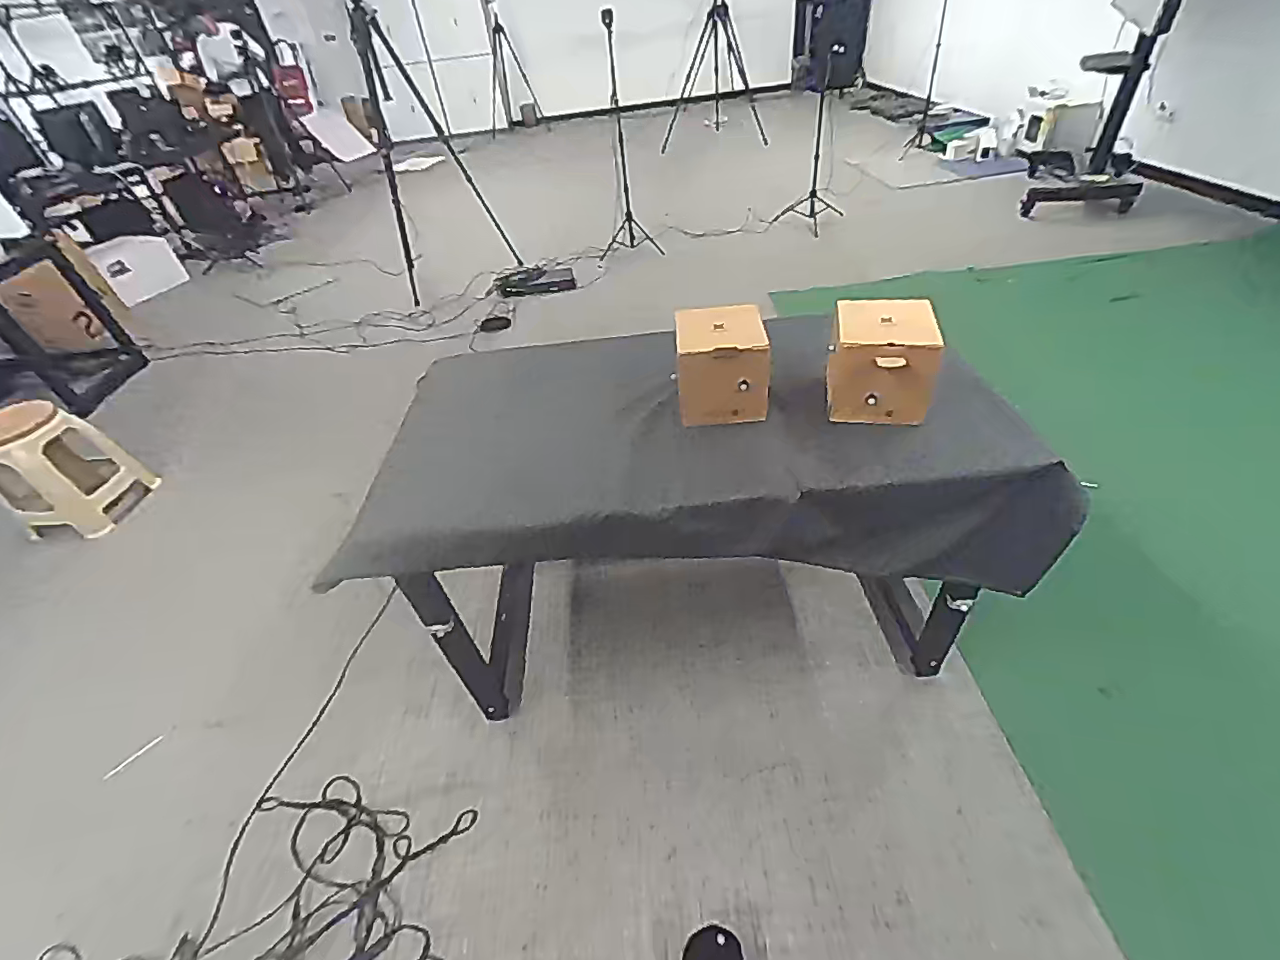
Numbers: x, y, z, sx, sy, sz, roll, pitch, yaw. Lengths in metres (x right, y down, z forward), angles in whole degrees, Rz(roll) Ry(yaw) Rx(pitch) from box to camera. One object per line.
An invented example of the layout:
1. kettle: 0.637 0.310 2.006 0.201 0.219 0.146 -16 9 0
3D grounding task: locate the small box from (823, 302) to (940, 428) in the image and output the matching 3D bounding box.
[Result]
1. small box: 0.443 -0.220 1.025 0.168 0.176 0.179 4 43 13

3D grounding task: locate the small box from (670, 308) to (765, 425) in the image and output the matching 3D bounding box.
1. small box: 0.149 -0.220 1.071 0.168 0.176 0.179 -4 41 3
